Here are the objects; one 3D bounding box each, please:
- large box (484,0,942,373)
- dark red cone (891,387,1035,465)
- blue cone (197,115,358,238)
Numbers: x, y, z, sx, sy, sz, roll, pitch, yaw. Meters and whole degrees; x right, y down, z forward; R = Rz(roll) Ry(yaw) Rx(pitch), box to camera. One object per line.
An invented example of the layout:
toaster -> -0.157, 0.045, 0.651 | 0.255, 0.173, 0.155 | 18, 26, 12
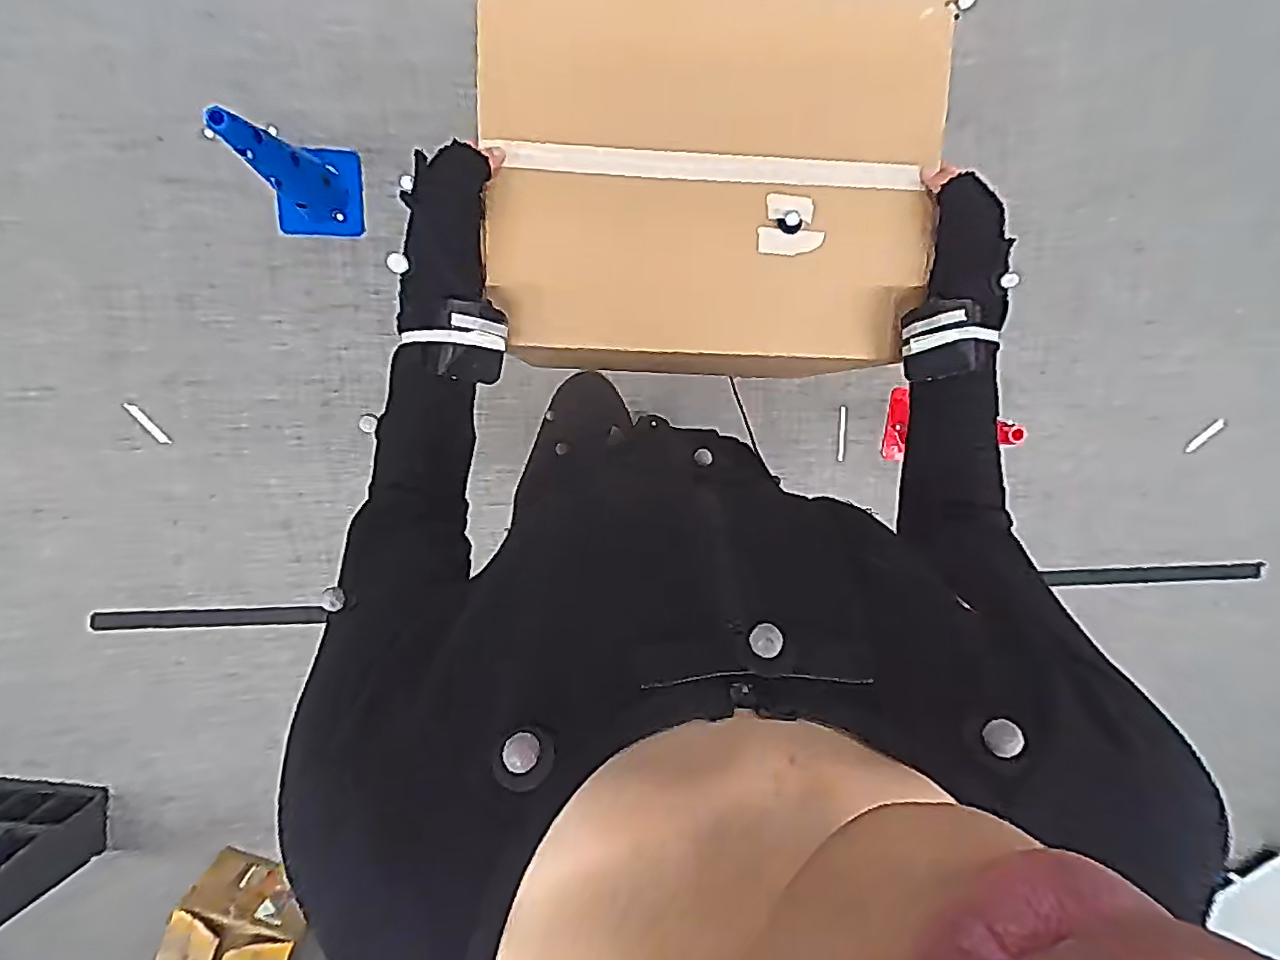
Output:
large box -> 0.054, -0.293, 0.624 | 0.408, 0.320, 0.320 | 1, 98, -5
dark red cone -> 0.792, -0.120, 1.305 | 0.201, 0.394, 0.202 | 5, 98, -3
blue cone -> -0.779, -0.668, 1.158 | 0.192, 0.380, 0.193 | 2, 98, -3
